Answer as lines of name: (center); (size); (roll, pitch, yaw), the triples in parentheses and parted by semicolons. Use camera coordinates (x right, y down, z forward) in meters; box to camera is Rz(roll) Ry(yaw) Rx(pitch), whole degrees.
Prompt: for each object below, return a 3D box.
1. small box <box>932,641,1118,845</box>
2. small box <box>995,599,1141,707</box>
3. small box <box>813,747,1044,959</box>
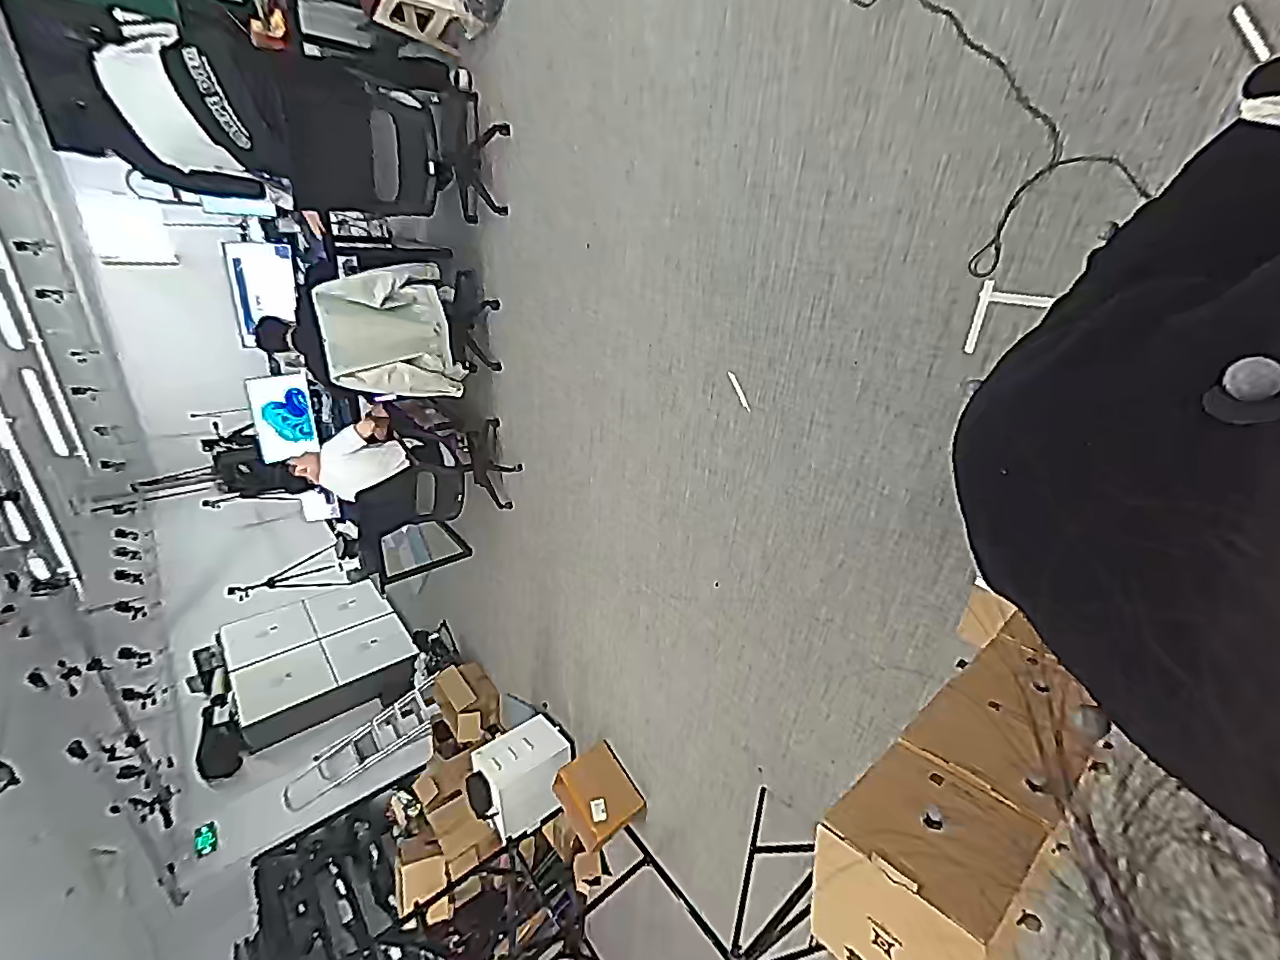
small box: (0.565, 0.368, 0.795); (0.168, 0.176, 0.179); (23, 120, 47)
small box: (0.688, 0.326, 0.896); (0.168, 0.176, 0.179); (27, 125, 44)
small box: (0.315, 0.439, 0.596); (0.168, 0.176, 0.179); (18, 116, 48)
